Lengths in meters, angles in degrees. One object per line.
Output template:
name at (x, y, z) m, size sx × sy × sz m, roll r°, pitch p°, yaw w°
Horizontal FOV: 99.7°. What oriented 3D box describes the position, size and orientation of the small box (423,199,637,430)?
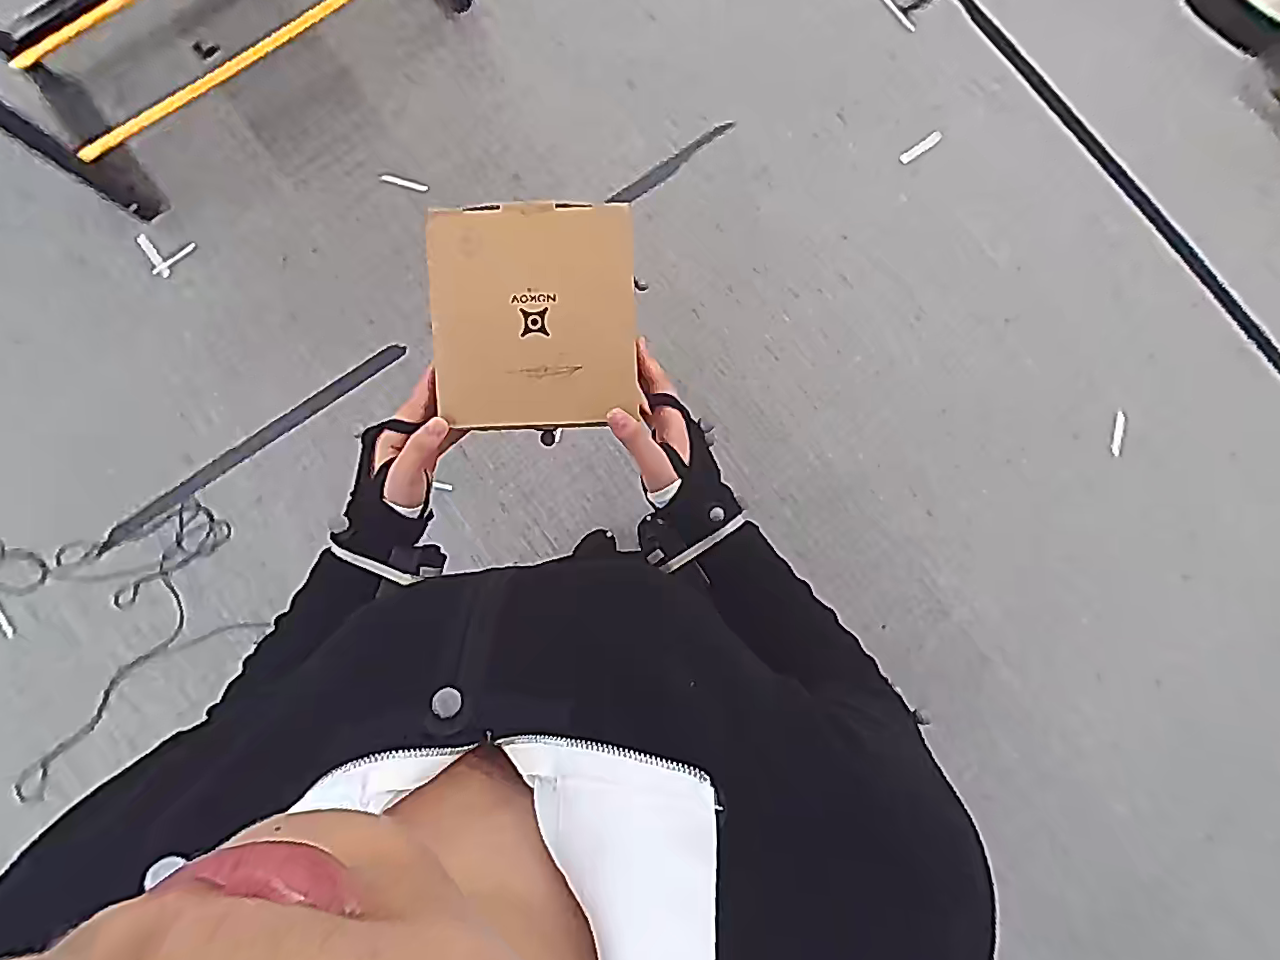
small box at (-0.091, -0.140, 0.516) m, size 0.168 × 0.176 × 0.179 m, roll -3°, pitch 94°, yaw -1°
